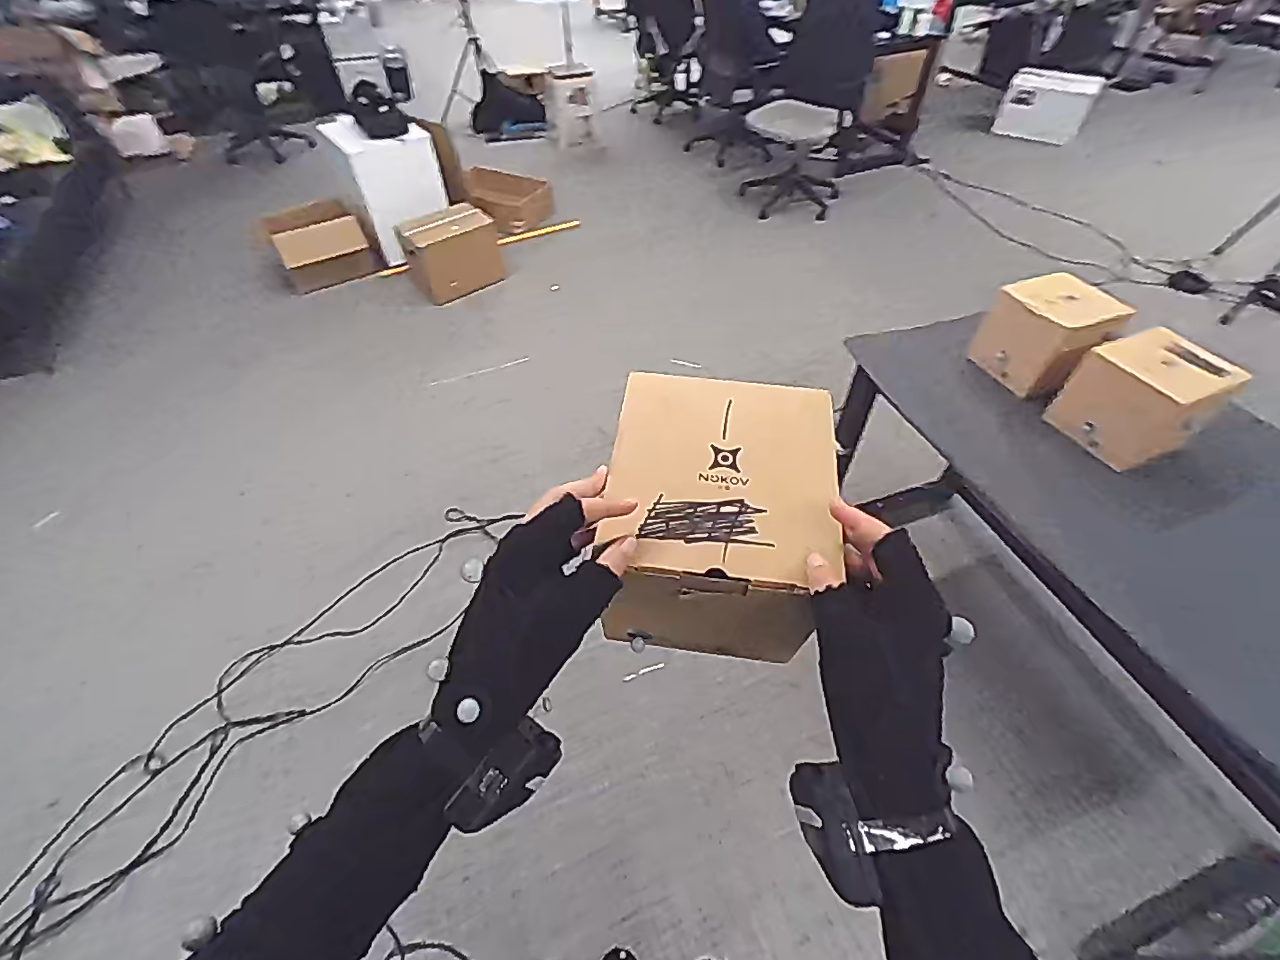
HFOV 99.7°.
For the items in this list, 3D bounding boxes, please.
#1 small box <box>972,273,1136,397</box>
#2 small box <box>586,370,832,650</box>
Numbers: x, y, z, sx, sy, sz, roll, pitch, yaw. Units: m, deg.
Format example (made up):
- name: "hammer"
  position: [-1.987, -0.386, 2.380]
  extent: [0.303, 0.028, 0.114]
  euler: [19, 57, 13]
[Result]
- name: "small box"
  position: [0.839, -0.298, 1.119]
  extent: [0.179, 0.176, 0.168]
  euler: [-16, 50, -13]
- name: "small box"
  position: [0.057, 0.032, 0.464]
  extent: [0.168, 0.176, 0.179]
  euler: [6, 56, 4]
